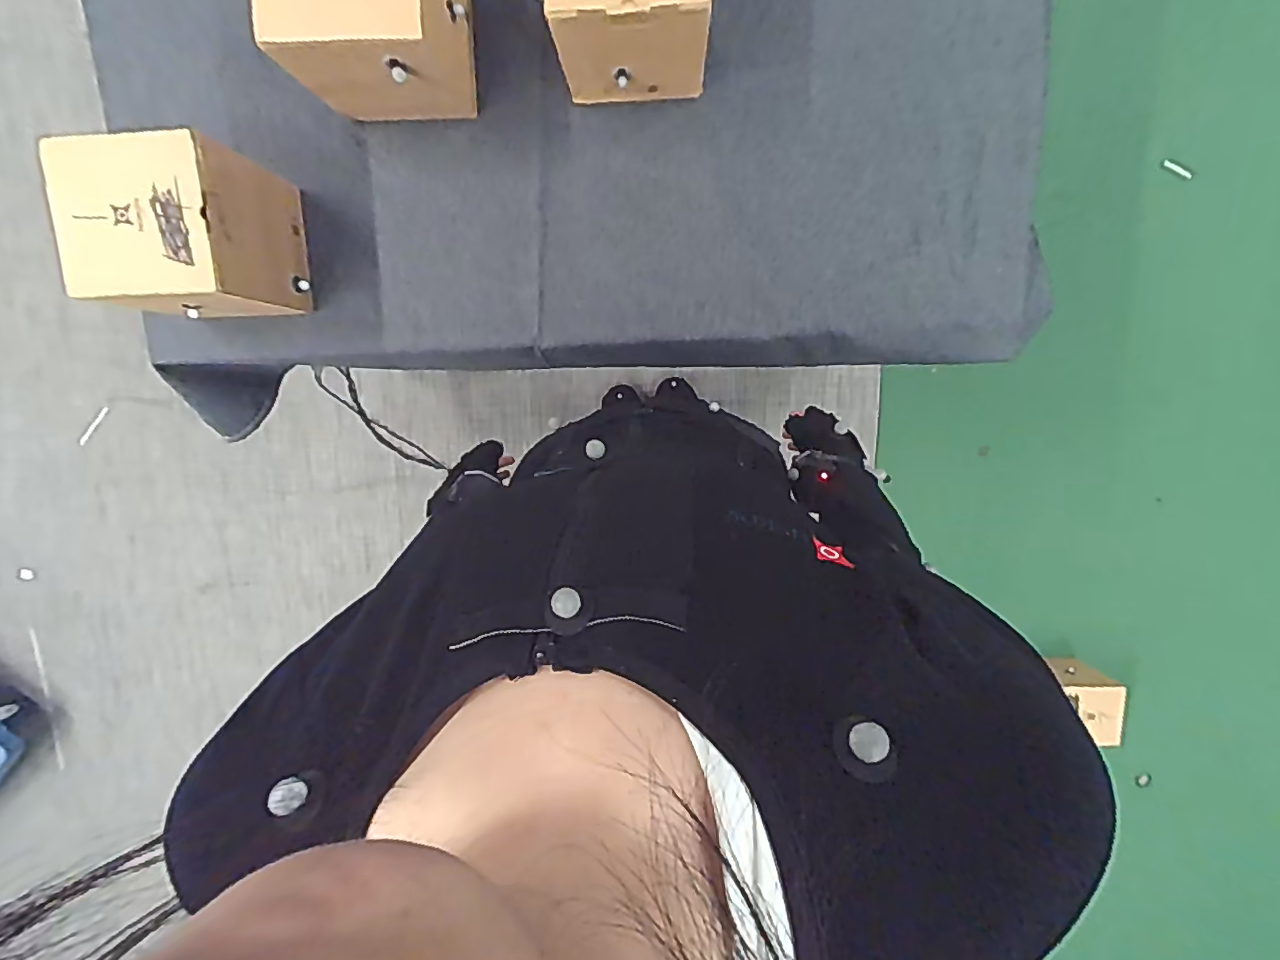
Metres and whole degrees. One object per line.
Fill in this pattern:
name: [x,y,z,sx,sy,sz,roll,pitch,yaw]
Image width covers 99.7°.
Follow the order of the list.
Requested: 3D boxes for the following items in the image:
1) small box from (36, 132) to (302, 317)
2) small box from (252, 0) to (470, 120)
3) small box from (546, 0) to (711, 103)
small box: [-0.545,-0.295,0.658,0.179,0.176,0.168,-1,99,3]
small box: [-0.300,-0.534,0.609,0.179,0.176,0.168,0,100,2]
small box: [-0.012,-0.558,0.599,0.168,0.176,0.179,-2,100,2]
